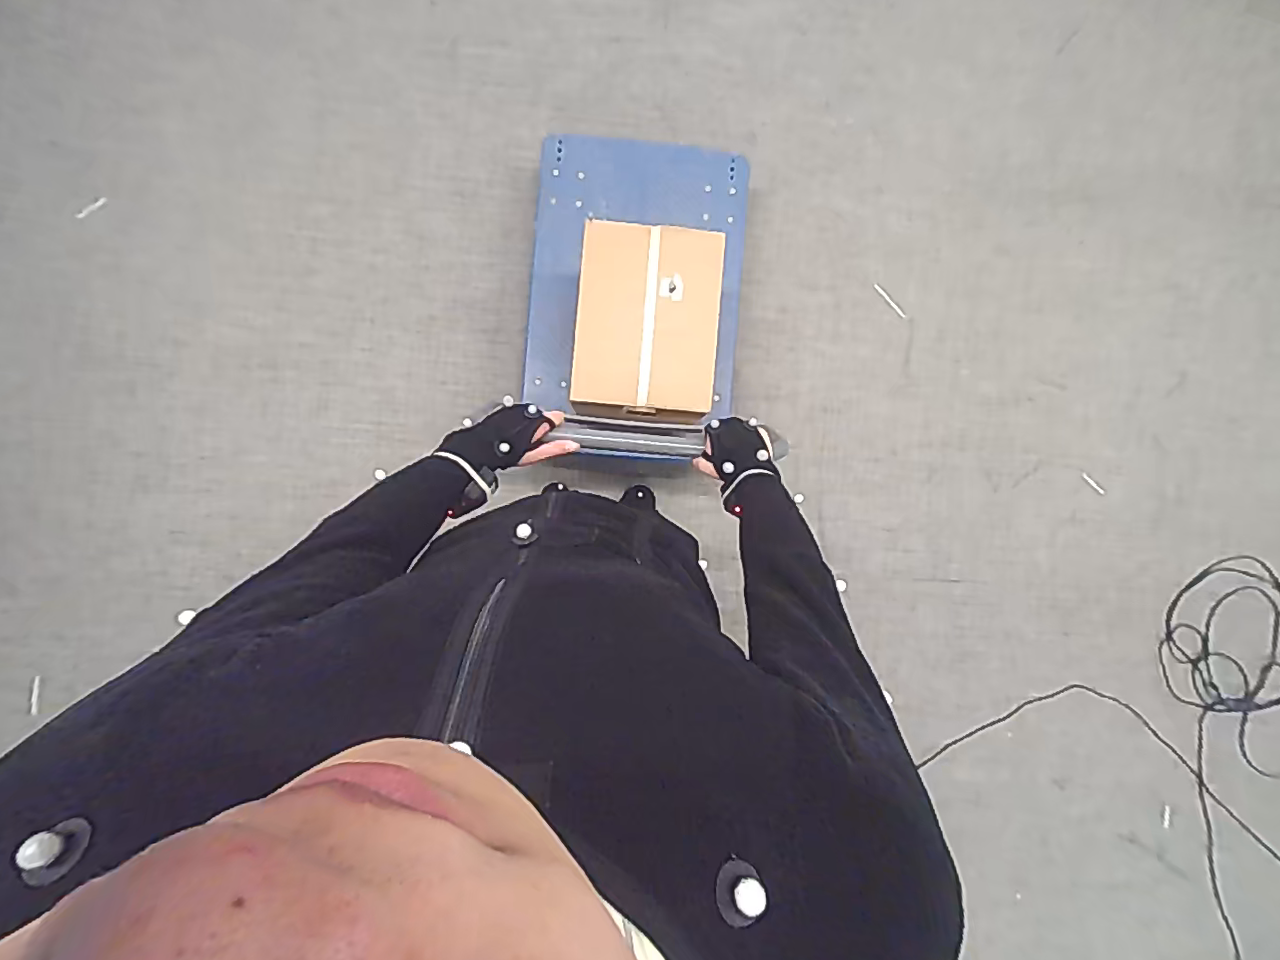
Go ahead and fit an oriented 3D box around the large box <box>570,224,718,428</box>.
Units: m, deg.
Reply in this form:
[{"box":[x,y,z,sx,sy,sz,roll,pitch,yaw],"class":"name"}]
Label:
[{"box":[0.005,-0.352,1.337,0.320,0.320,0.408,4,88,-4],"class":"large box"}]
